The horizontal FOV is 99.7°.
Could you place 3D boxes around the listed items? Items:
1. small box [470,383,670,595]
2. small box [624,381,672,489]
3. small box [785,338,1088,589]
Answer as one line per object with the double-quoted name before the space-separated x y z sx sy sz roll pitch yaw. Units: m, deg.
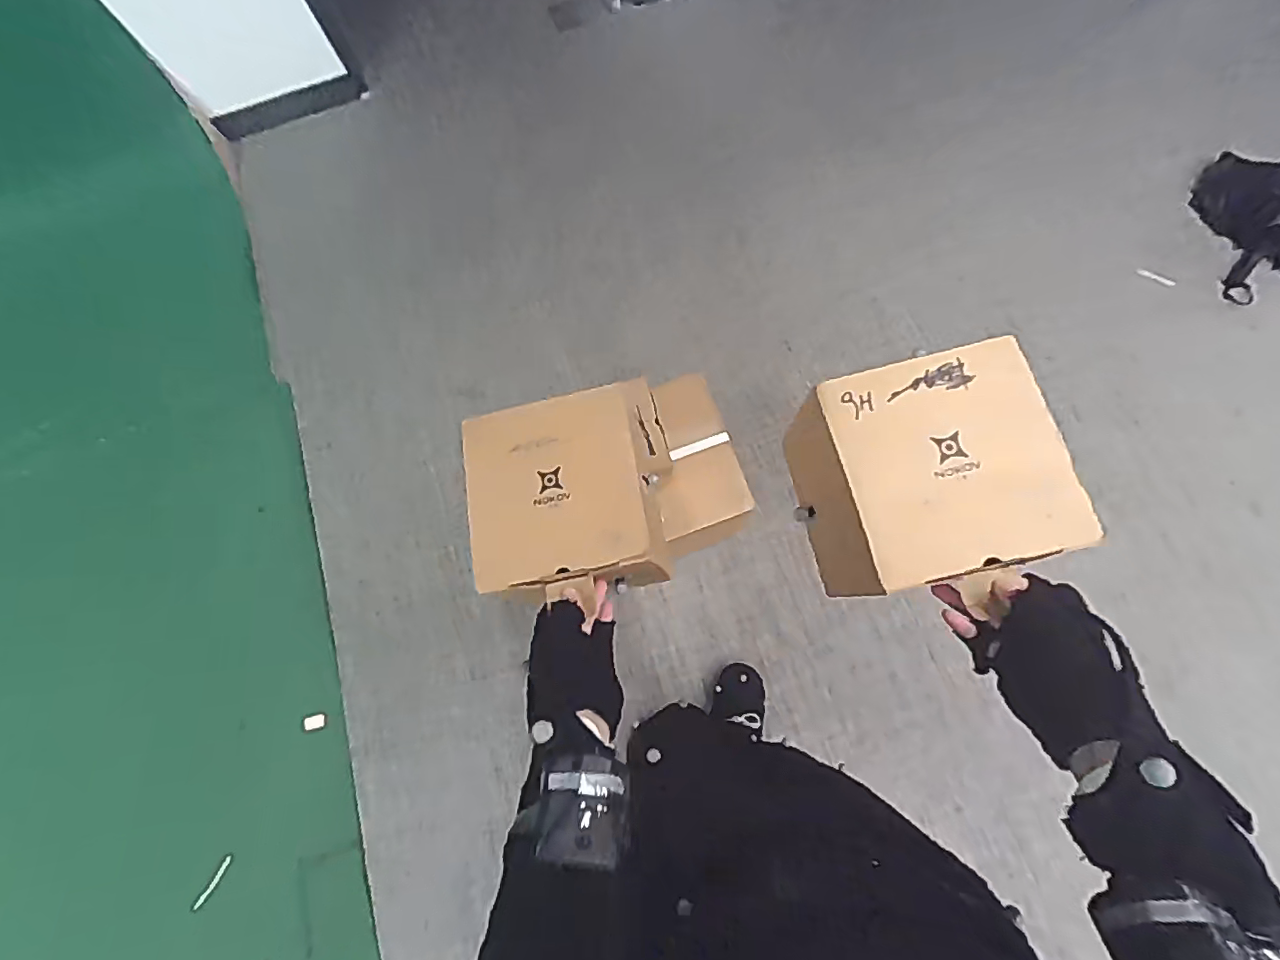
"small box" -0.067 0.023 0.589 0.168 0.176 0.179 -13 71 5
"small box" -0.045 -0.060 0.984 0.179 0.176 0.168 -13 78 0
"small box" 0.249 -0.001 0.506 0.168 0.176 0.179 -14 77 1
